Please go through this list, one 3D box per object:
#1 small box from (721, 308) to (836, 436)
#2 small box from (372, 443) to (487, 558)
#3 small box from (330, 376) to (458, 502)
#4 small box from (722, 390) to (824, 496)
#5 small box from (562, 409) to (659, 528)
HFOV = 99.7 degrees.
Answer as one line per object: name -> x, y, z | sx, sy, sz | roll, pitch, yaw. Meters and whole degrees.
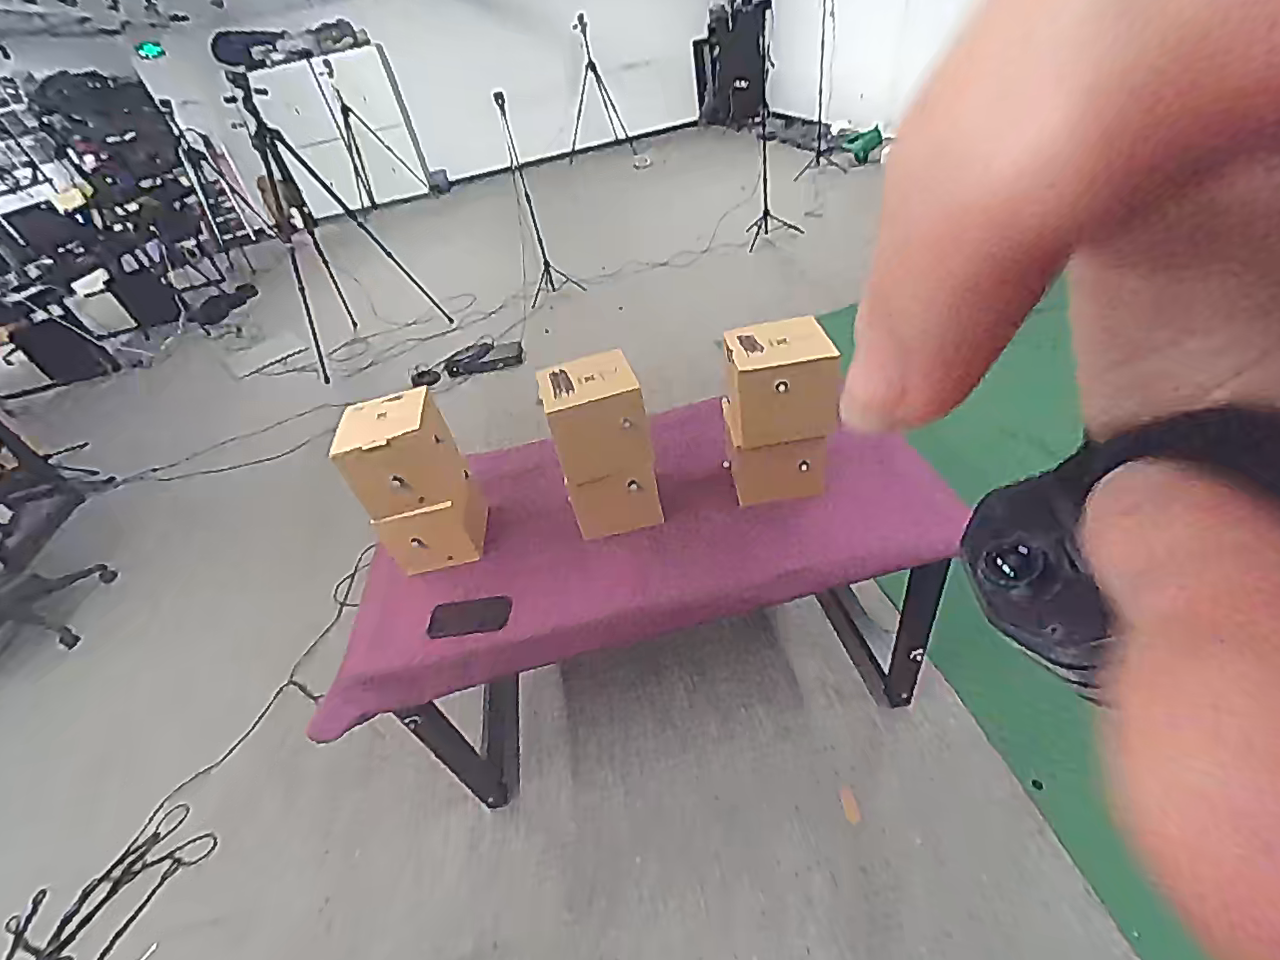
small box -> 0.257, -0.200, 1.019 | 0.179, 0.176, 0.168 | -9, 41, 5
small box -> -0.443, 0.052, 1.172 | 0.168, 0.176, 0.179 | -12, 41, 1
small box -> -0.473, -0.075, 1.071 | 0.168, 0.176, 0.179 | -15, 41, -3
small box -> 0.275, -0.087, 1.138 | 0.179, 0.176, 0.168 | -9, 41, 6
small box -> -0.059, -0.022, 1.151 | 0.179, 0.176, 0.168 | -13, 41, 1
